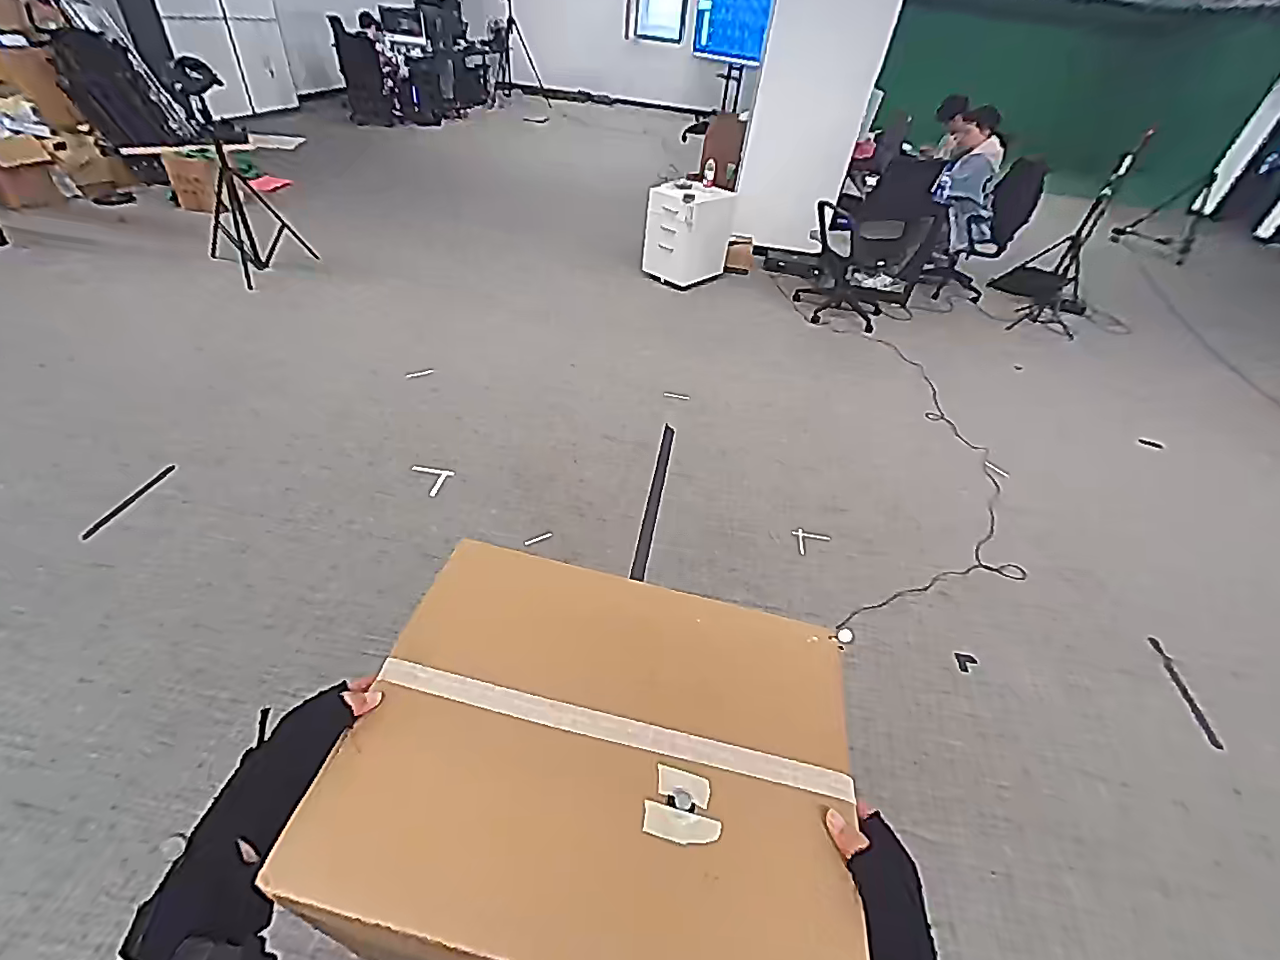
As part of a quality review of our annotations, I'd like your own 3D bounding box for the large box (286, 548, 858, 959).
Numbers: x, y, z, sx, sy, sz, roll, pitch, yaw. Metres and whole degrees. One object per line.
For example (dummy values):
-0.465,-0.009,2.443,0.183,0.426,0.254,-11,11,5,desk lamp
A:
-0.044,0.321,0.564,0.408,0.320,0.320,13,43,3,large box
